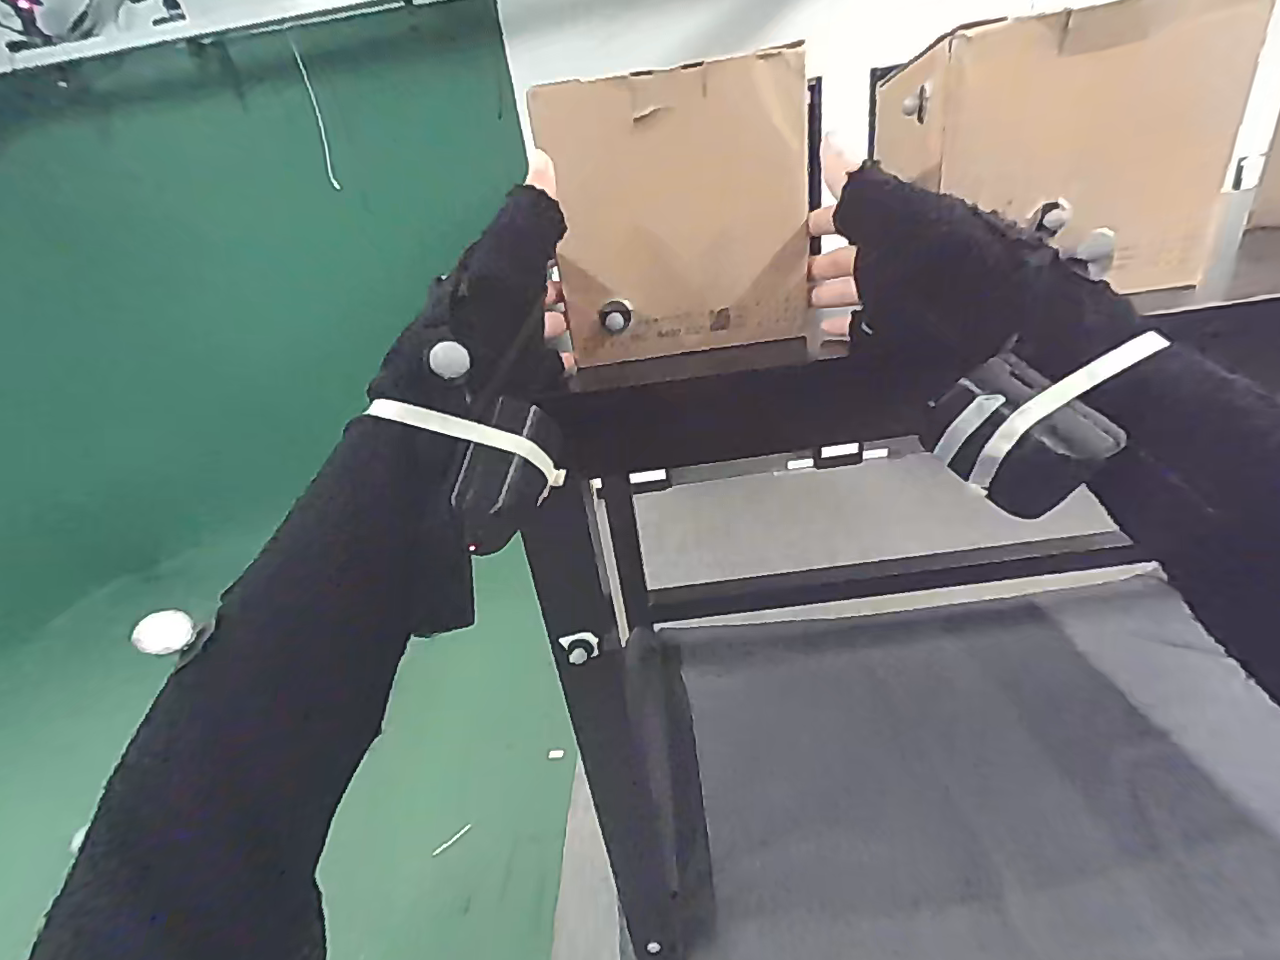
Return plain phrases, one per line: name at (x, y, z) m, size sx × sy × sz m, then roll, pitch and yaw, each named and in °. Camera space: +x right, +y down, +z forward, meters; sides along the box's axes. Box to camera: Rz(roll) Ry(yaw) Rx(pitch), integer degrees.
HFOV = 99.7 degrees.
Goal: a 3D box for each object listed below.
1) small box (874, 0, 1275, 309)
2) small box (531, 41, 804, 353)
small box at (0.287, -0.232, 0.413) m, size 0.168 × 0.176 × 0.179 m, roll -4°, pitch 26°, yaw 10°
small box at (0.025, -0.200, 0.421) m, size 0.168 × 0.176 × 0.179 m, roll -7°, pitch 24°, yaw 1°
